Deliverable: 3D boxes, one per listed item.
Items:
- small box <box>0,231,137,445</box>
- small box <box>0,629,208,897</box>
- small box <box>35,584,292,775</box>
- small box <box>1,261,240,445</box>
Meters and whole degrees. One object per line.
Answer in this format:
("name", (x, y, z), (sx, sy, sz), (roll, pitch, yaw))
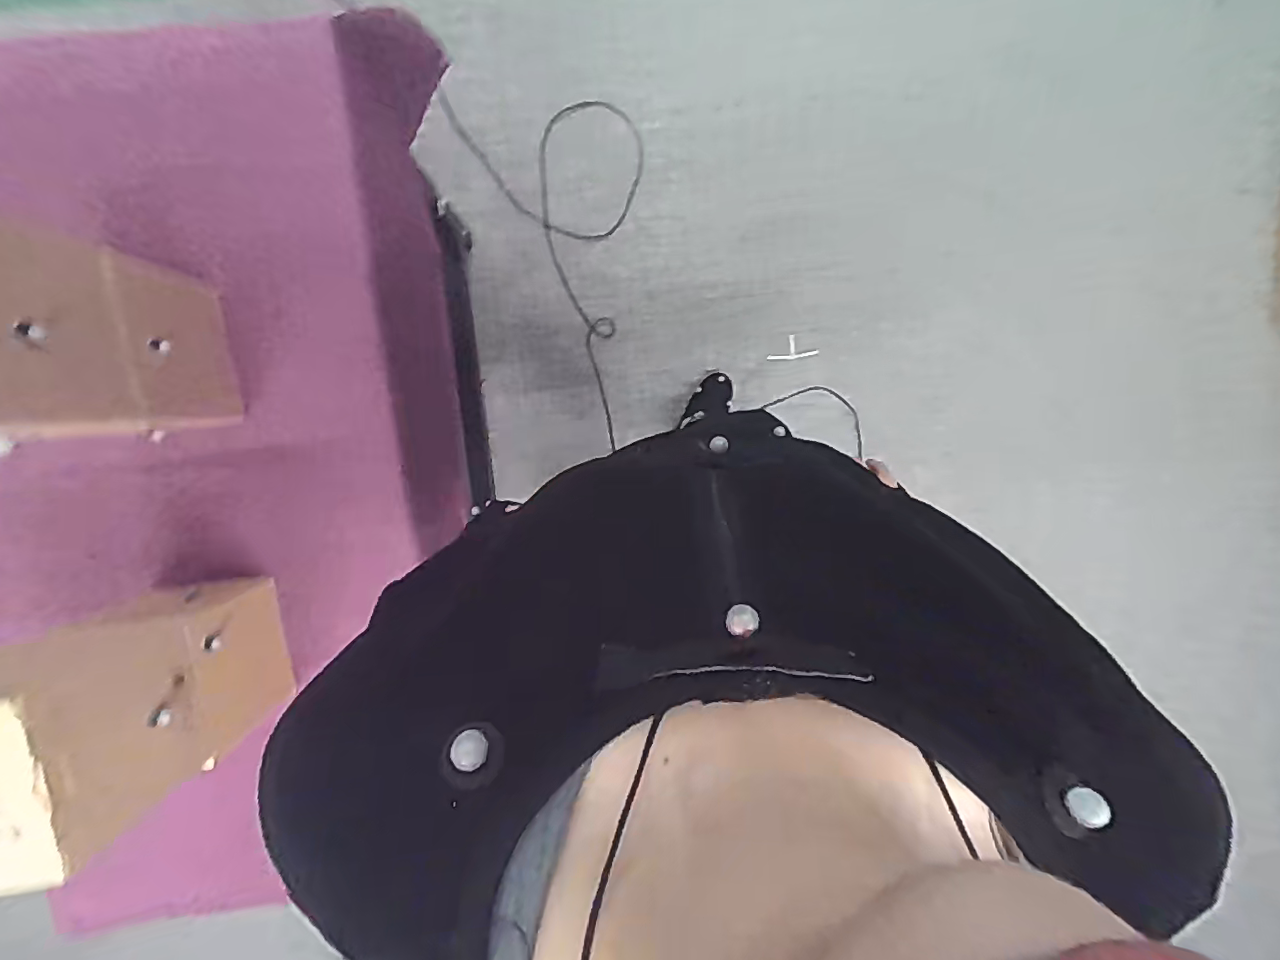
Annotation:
("small box", (-0.607, -0.120, 0.473), (0.168, 0.176, 0.179), (-7, 98, -3))
("small box", (-0.576, 0.259, 0.519), (0.179, 0.176, 0.168), (-8, 97, -2))
("small box", (-0.578, 0.248, 0.684), (0.168, 0.176, 0.179), (-8, 96, -2))
("small box", (-0.614, -0.140, 0.636), (0.168, 0.176, 0.179), (-6, 96, -3))
